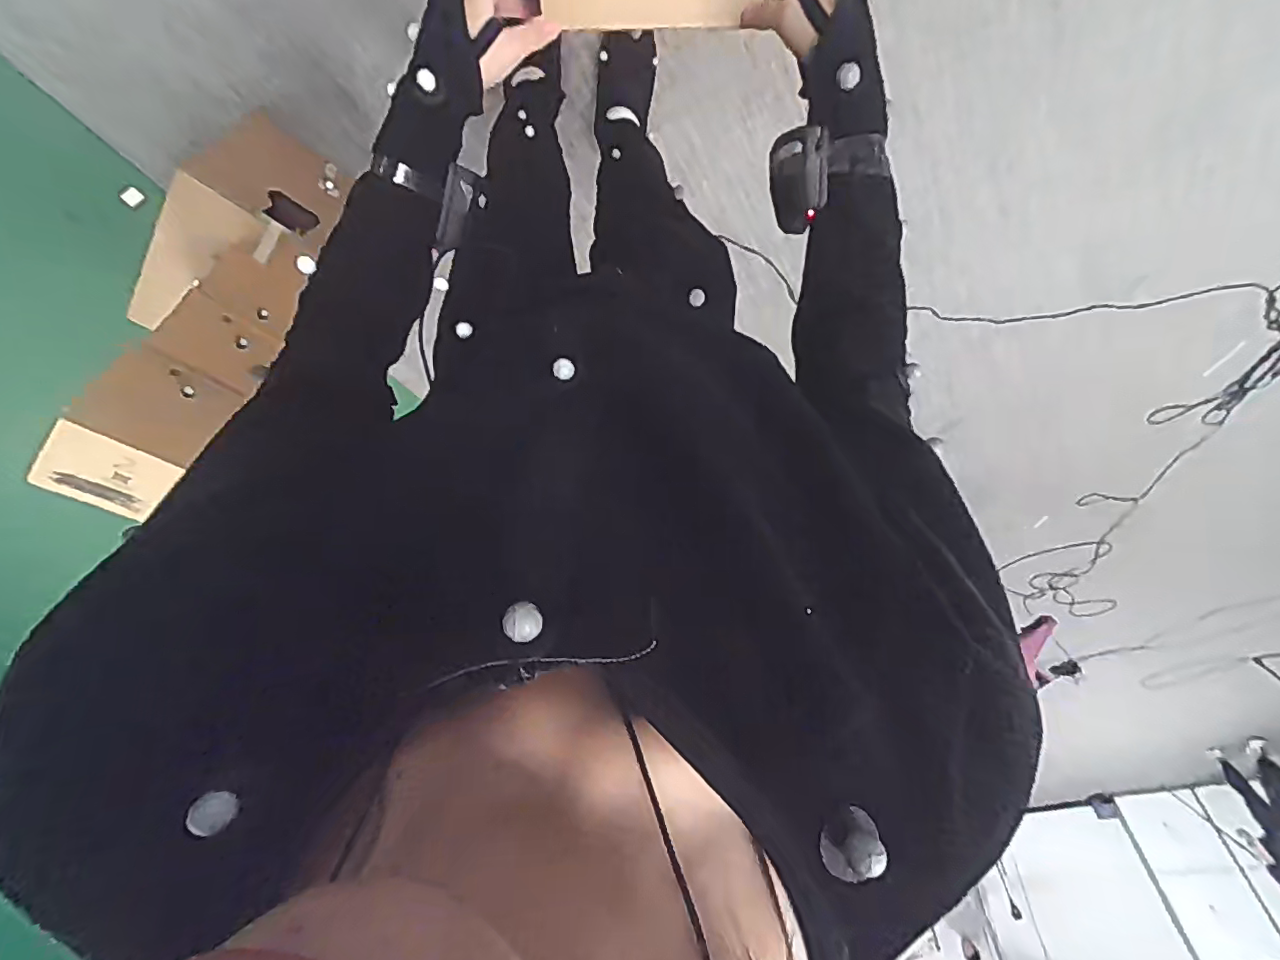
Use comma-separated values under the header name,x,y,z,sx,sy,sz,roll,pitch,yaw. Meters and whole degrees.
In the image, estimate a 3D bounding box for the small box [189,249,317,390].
name,x,y,z,sx,sy,sz,roll,pitch,yaw
small box,-0.753,-0.294,1.024,0.168,0.176,0.179,-30,133,27

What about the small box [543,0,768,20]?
name,x,y,z,sx,sy,sz,roll,pitch,yaw
small box,0.007,-0.472,0.411,0.179,0.176,0.168,-3,138,-4

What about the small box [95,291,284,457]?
name,x,y,z,sx,sy,sz,roll,pitch,yaw
small box,-0.745,-0.176,0.913,0.179,0.176,0.168,-30,134,26
